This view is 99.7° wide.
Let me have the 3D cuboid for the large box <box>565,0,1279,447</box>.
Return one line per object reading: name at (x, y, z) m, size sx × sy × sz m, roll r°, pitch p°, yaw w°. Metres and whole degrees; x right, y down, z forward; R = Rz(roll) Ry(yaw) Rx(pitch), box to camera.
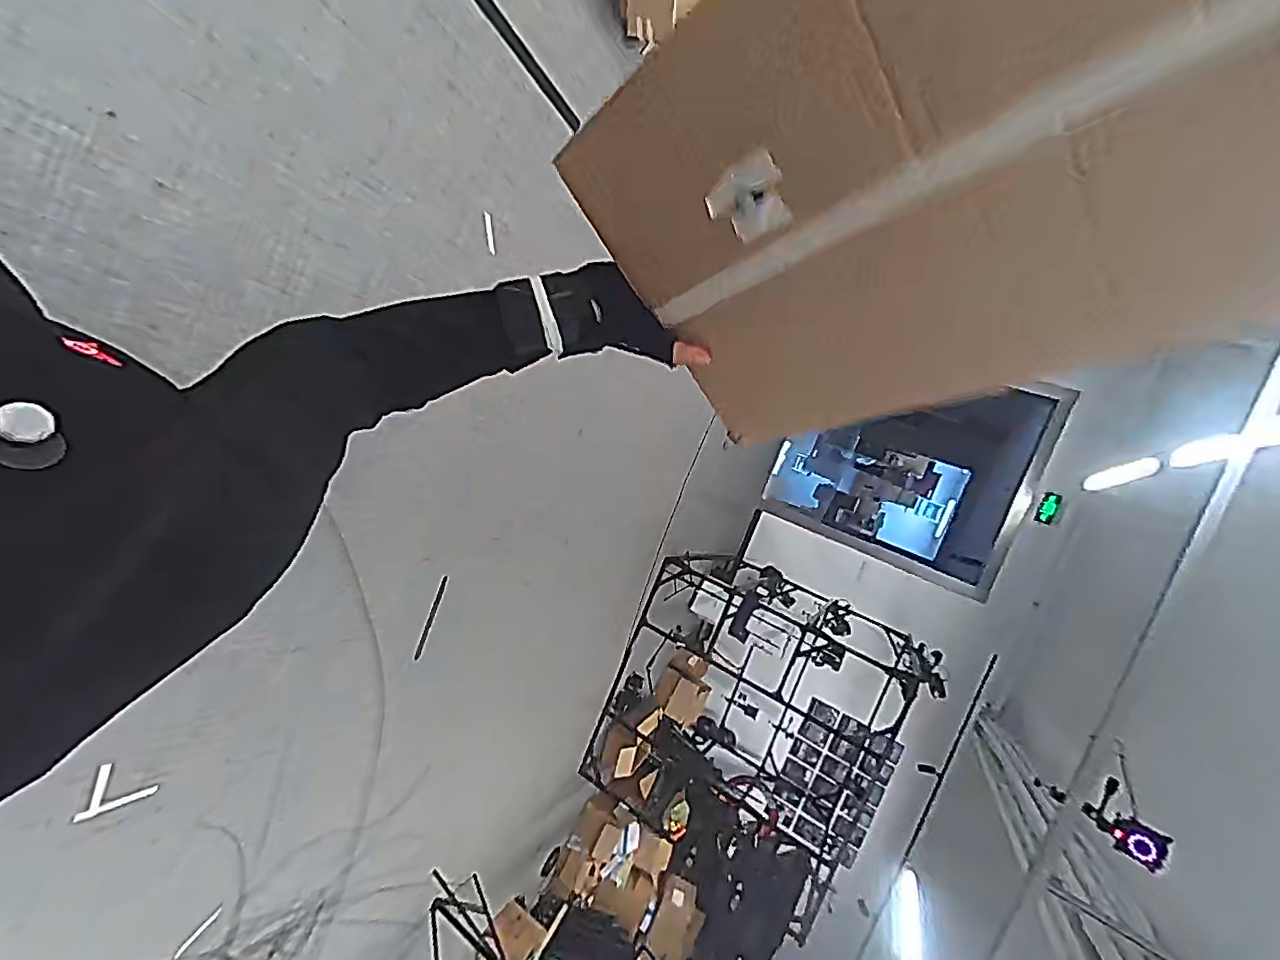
large box at (0.223, -0.265, 0.445) m, size 0.320 × 0.408 × 0.320 m, roll -50°, pitch 117°, yaw -32°
